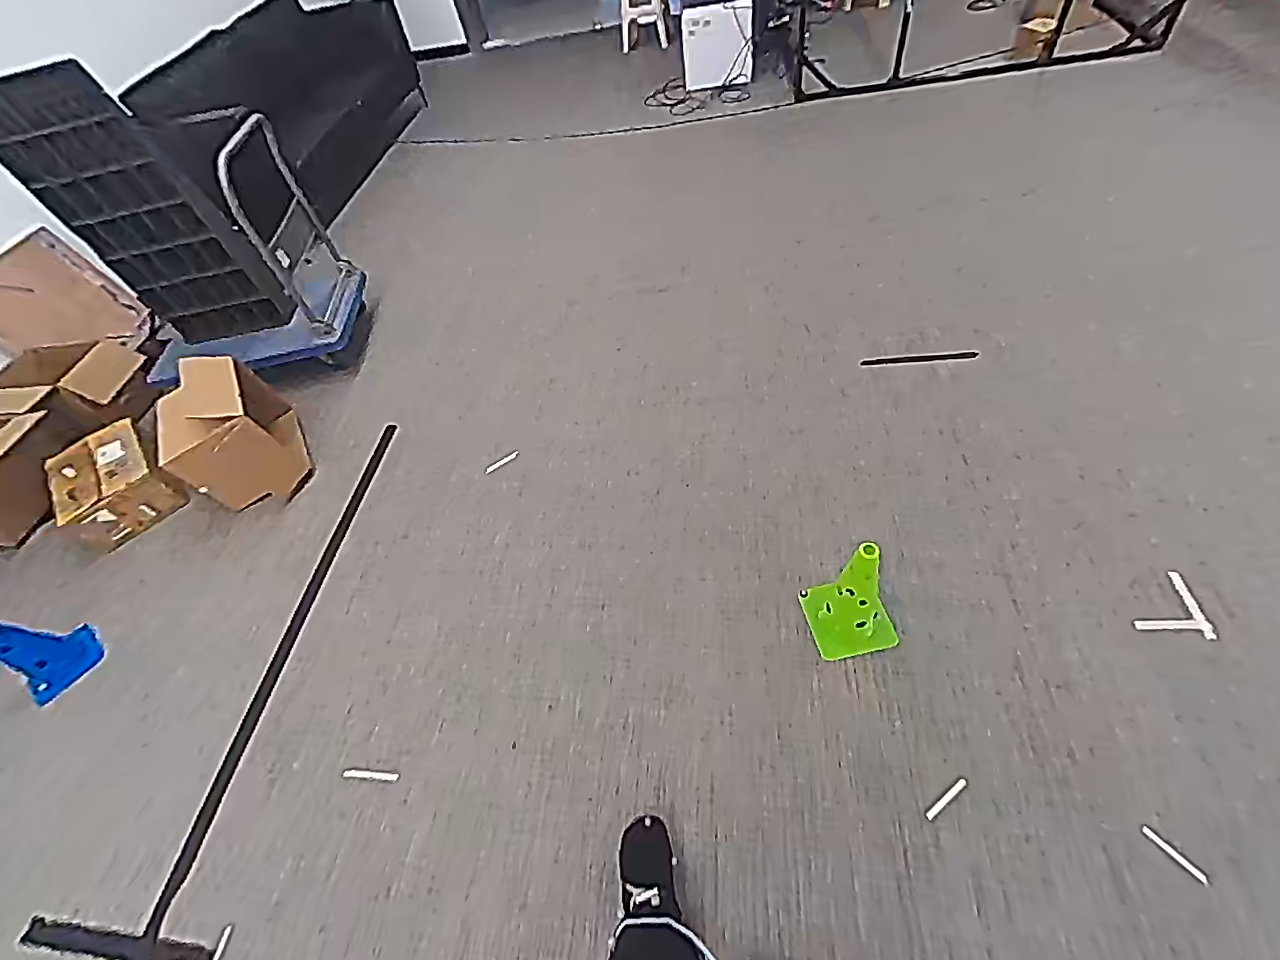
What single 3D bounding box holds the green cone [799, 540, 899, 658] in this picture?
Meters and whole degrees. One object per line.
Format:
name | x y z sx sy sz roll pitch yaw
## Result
green cone | 0.516 0.253 1.275 0.202 0.368 0.200 -13 52 0
